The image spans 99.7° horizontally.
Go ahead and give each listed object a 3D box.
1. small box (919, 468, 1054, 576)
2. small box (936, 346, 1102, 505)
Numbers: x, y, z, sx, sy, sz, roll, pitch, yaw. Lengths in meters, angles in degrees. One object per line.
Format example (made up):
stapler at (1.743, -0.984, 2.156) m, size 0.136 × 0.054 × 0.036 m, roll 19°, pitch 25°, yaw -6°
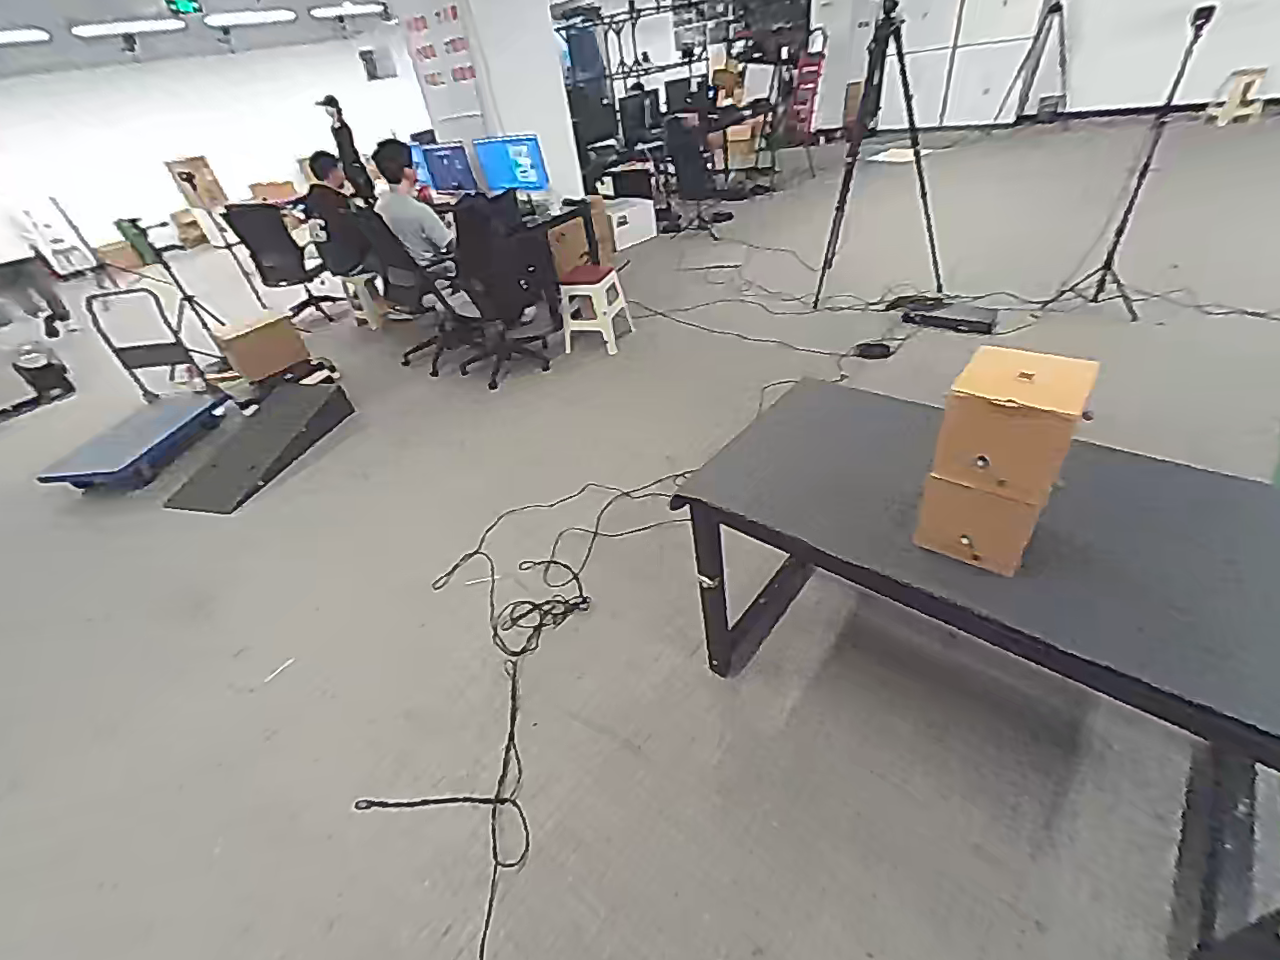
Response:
small box at (0.621, 0.036, 0.968) m, size 0.168 × 0.176 × 0.179 m, roll 21°, pitch 47°, yaw 35°
small box at (0.599, -0.091, 0.870) m, size 0.168 × 0.176 × 0.179 m, roll 22°, pitch 48°, yaw 35°
